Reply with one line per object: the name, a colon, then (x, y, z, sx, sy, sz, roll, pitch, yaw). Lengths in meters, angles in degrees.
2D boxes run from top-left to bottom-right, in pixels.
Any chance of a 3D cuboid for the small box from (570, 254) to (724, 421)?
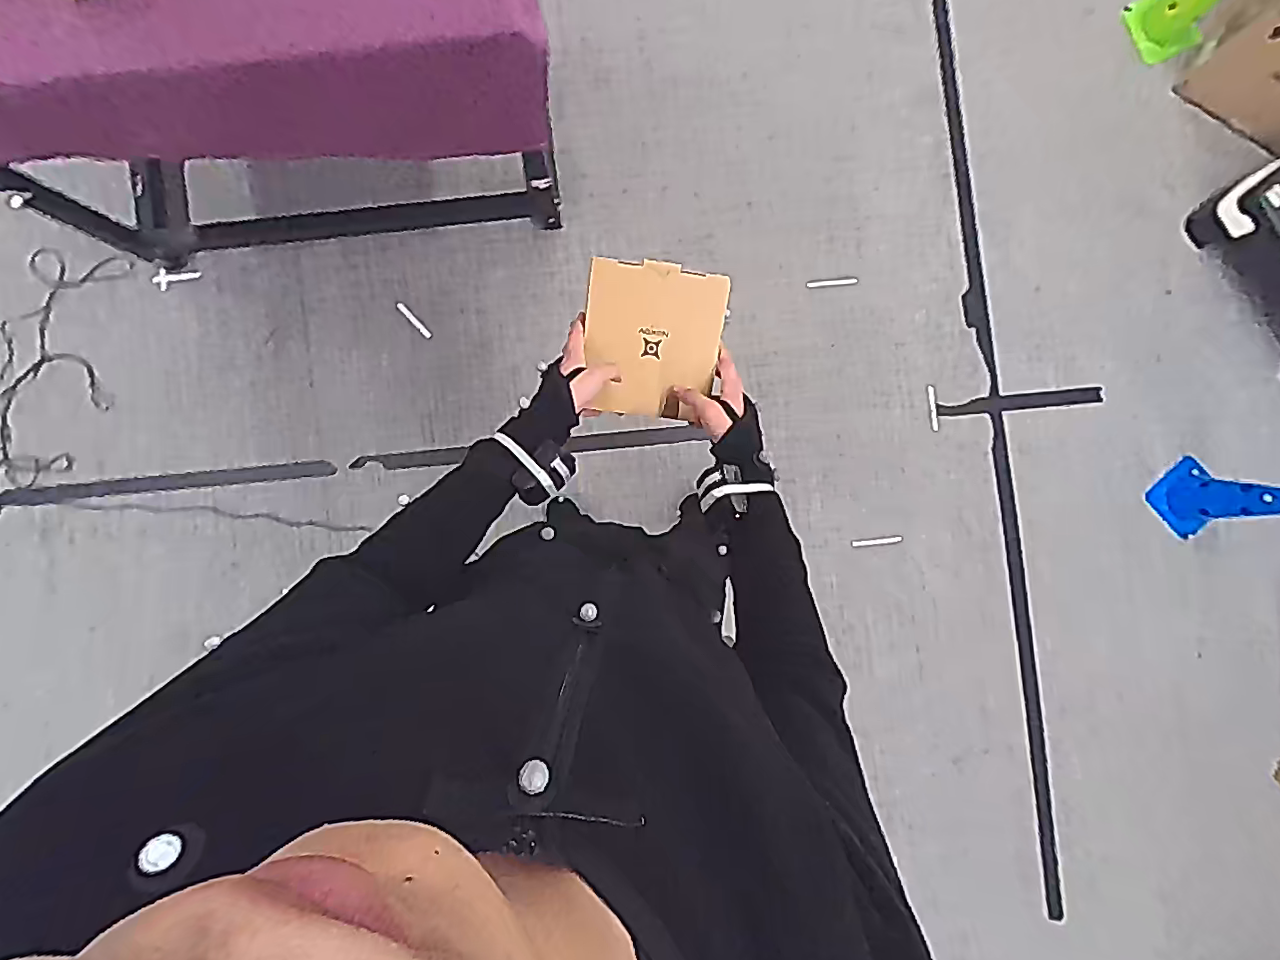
small box: (0.001, -0.186, 0.713, 0.168, 0.176, 0.179, 5, 105, -7)
